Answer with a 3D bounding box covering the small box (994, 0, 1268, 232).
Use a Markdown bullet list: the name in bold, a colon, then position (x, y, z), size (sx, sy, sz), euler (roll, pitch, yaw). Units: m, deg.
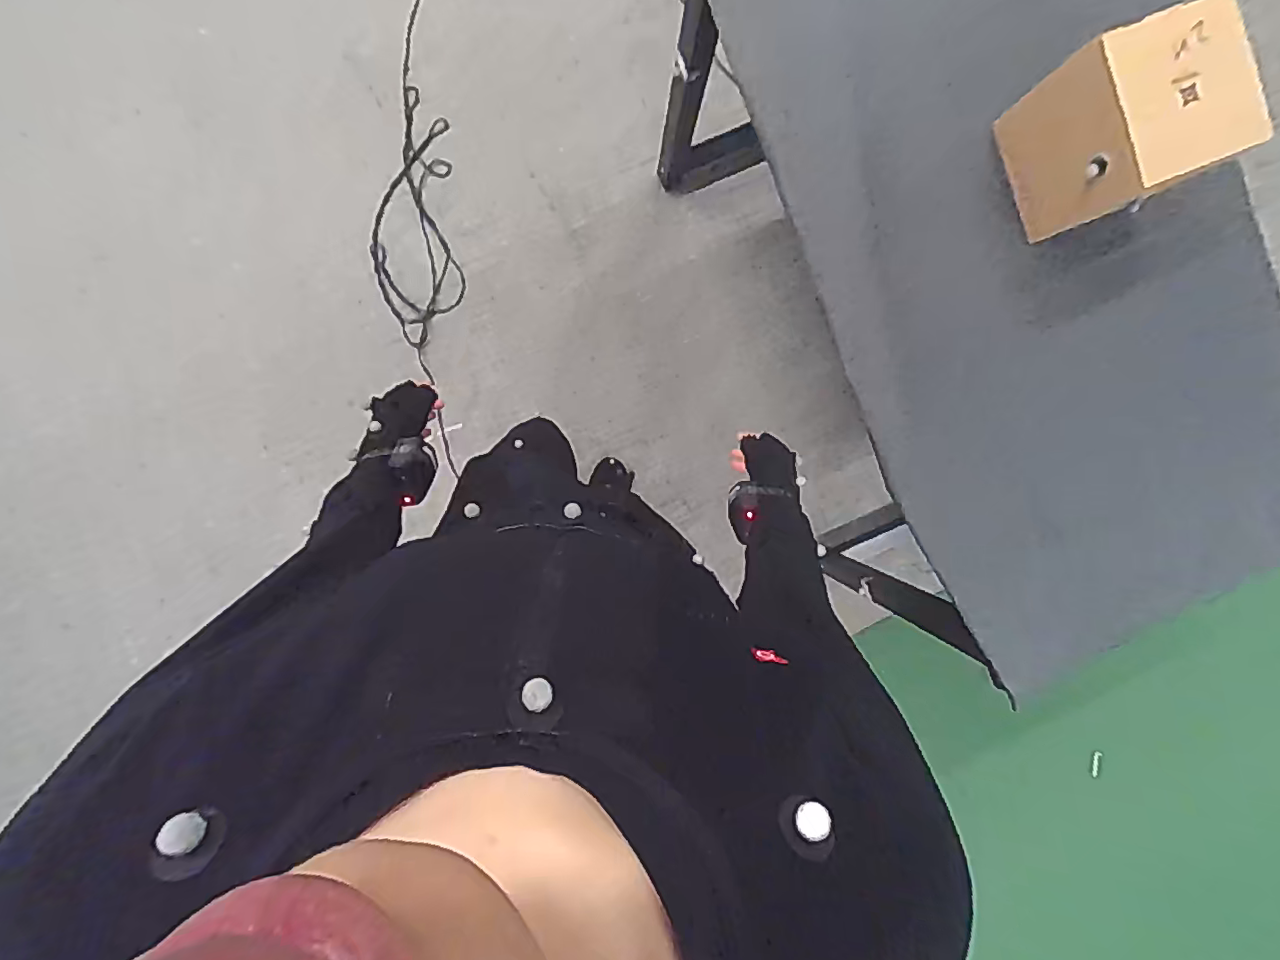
- **small box**: position (0.593, -0.437, 0.676), size (0.168, 0.176, 0.179), euler (-22, 95, -2)
